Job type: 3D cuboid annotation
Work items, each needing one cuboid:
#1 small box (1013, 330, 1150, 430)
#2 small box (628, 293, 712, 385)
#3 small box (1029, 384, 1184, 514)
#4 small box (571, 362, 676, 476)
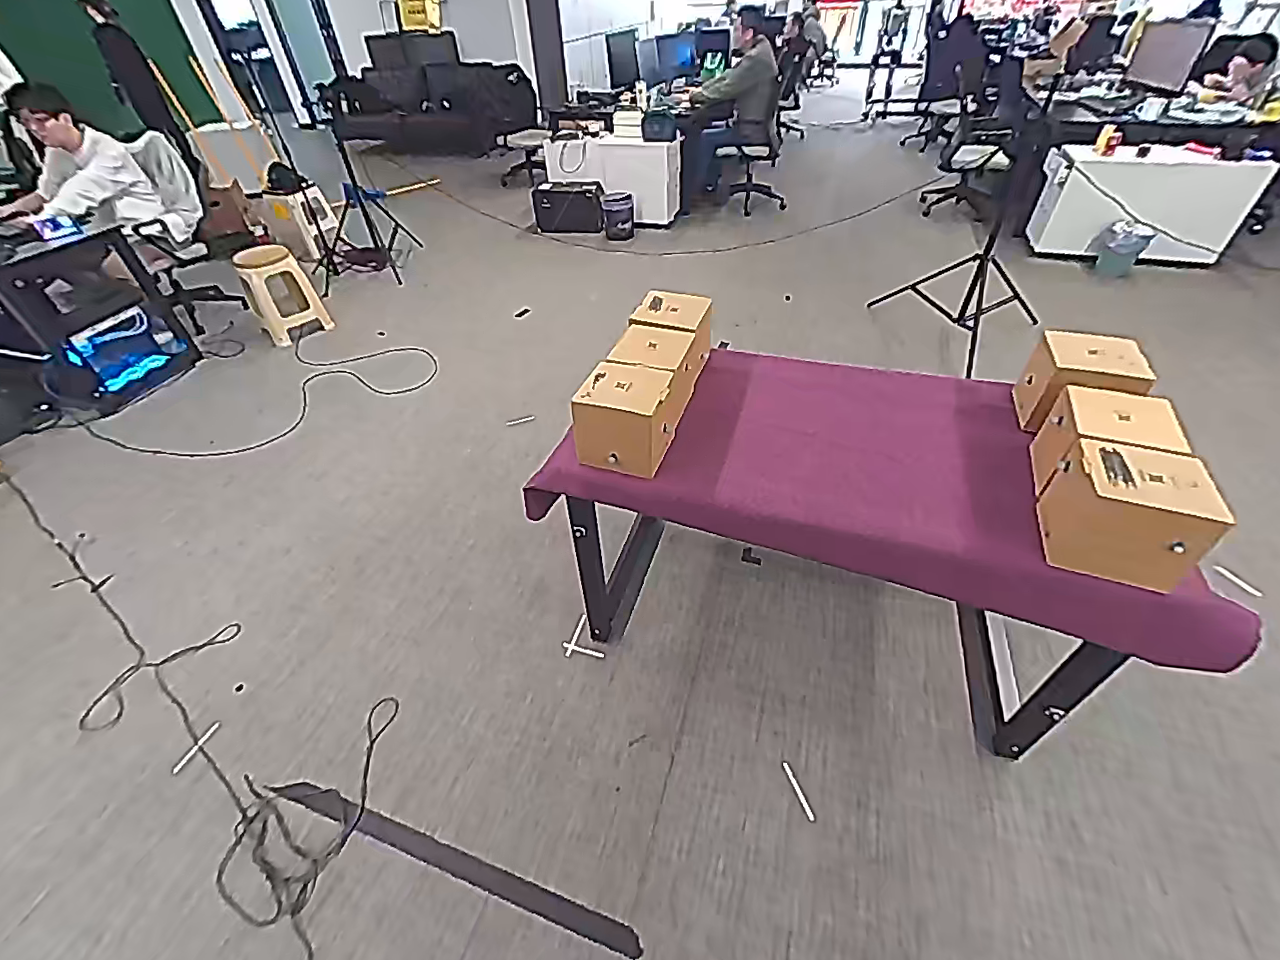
[{"bbox_3d":[0.959,-0.210,1.200,0.179,0.176,0.168,13,46,15],"label":"small box"},{"bbox_3d":[0.079,-0.371,1.426,0.179,0.176,0.168,14,47,16],"label":"small box"},{"bbox_3d":[0.888,-0.059,1.052,0.168,0.176,0.179,14,45,19],"label":"small box"},{"bbox_3d":[-0.031,-0.129,1.173,0.179,0.176,0.168,13,44,15],"label":"small box"}]
